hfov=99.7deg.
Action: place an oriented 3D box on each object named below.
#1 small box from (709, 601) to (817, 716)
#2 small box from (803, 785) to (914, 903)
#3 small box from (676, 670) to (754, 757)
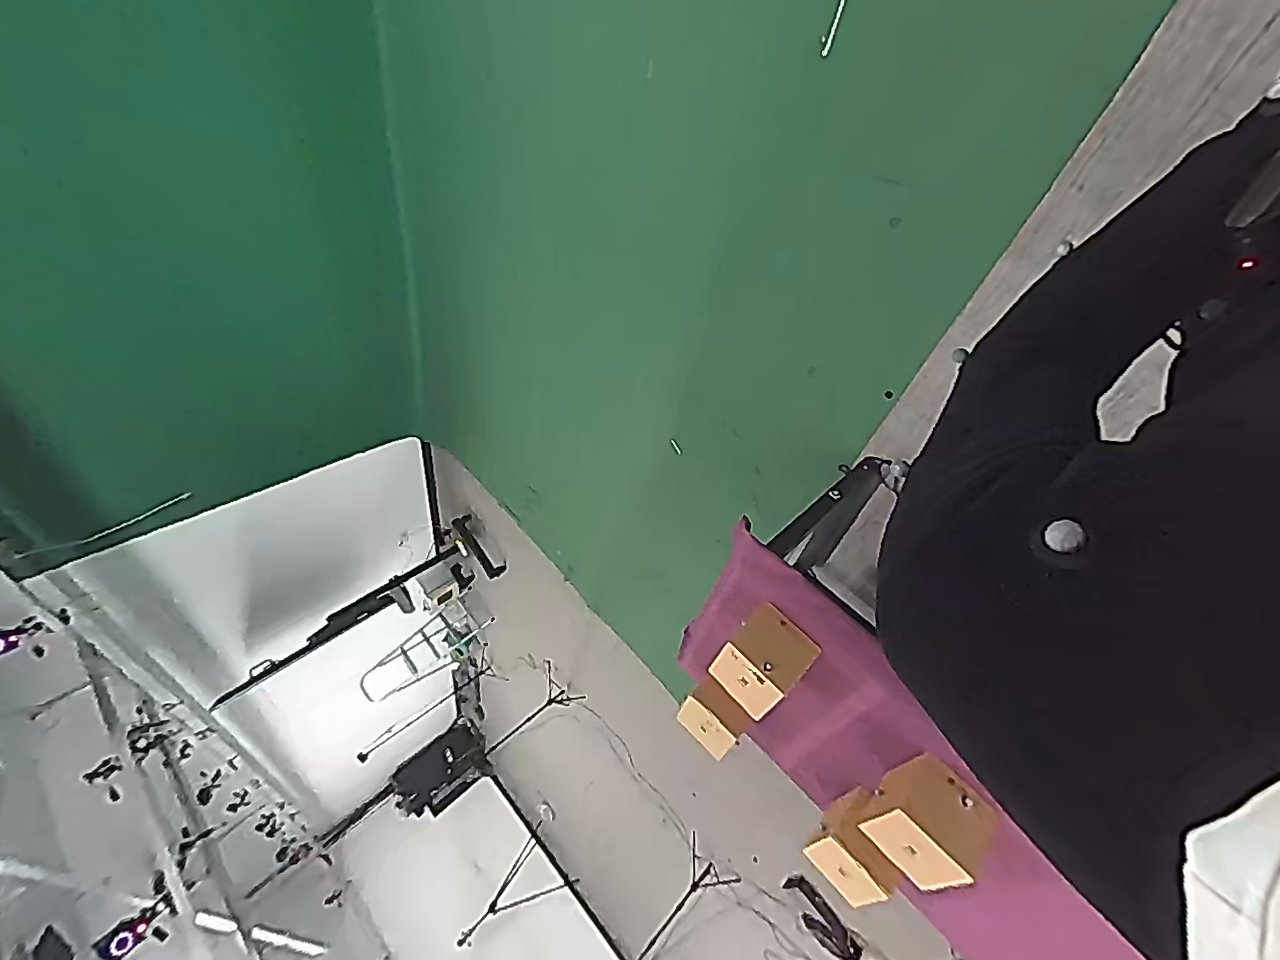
[{"bbox_3d":[0.300,0.431,1.314,0.168,0.176,0.179,41,143,21],"label":"small box"},{"bbox_3d":[0.553,0.914,1.364,0.168,0.176,0.179,42,139,23],"label":"small box"},{"bbox_3d":[0.232,0.644,1.543,0.168,0.176,0.179,38,139,22],"label":"small box"}]
